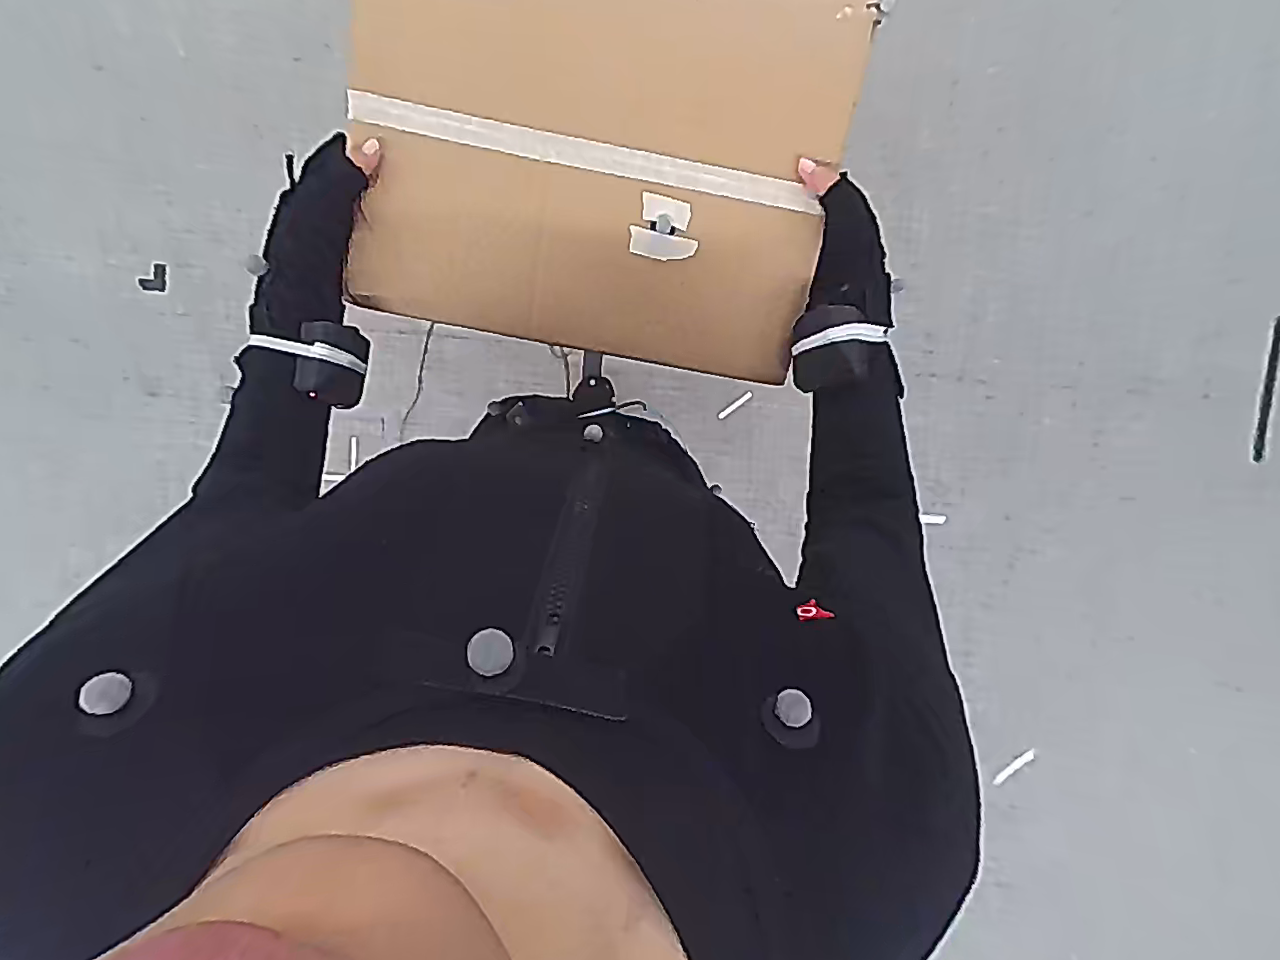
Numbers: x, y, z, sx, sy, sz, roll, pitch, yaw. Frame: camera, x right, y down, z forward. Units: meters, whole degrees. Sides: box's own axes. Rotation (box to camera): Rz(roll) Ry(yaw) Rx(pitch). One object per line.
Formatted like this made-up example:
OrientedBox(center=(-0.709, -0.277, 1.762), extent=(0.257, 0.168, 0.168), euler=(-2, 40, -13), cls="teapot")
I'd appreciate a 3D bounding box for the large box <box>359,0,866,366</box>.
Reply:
OrientedBox(center=(-0.041, -0.323, 0.607), extent=(0.408, 0.320, 0.320), euler=(10, 106, -5), cls="large box")
